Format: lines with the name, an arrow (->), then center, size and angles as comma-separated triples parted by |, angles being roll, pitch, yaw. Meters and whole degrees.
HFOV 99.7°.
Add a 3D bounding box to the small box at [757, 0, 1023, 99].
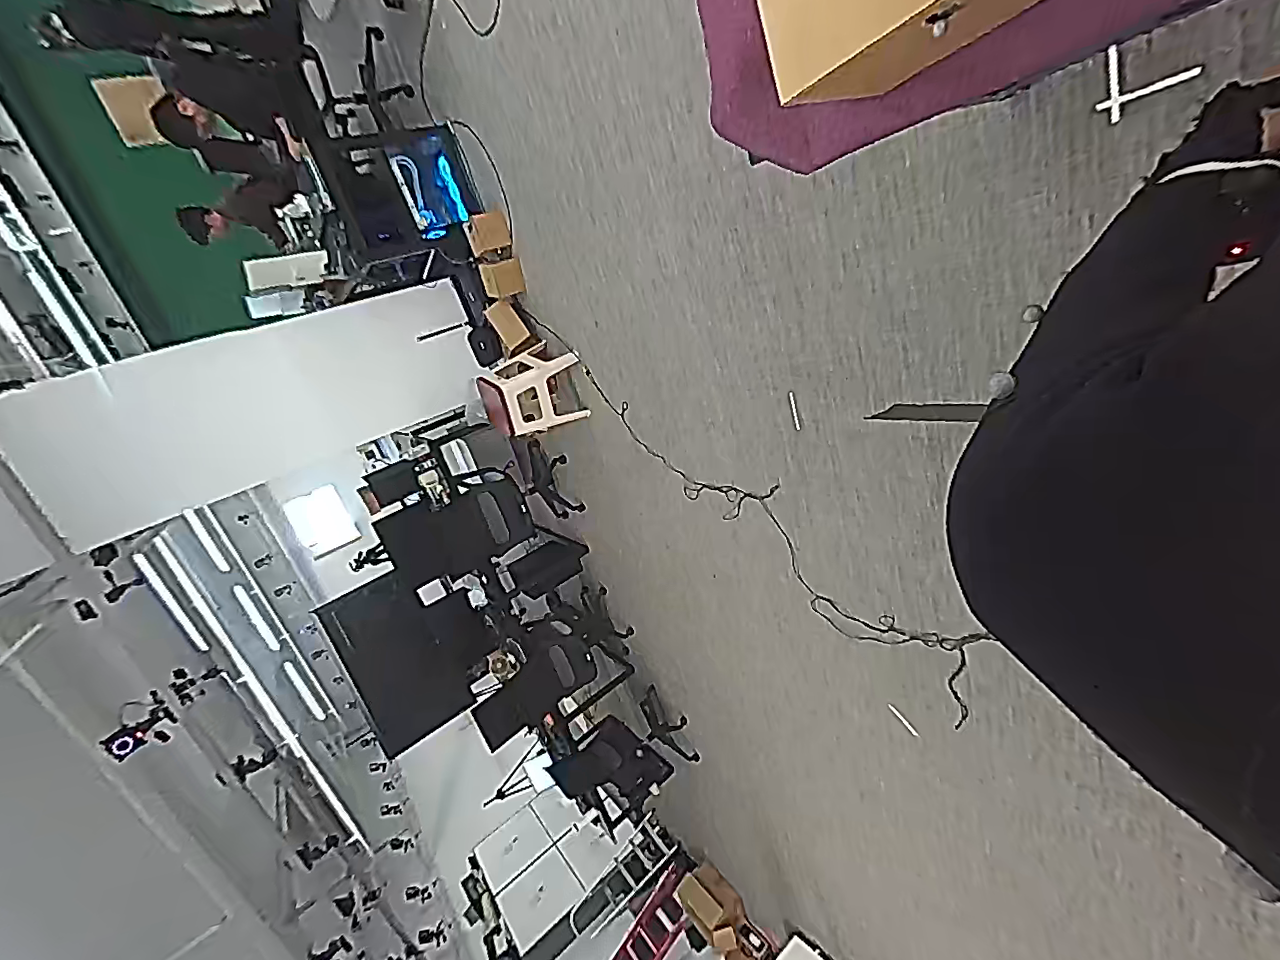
small box -> 0.218, -0.464, 0.464 | 0.179, 0.176, 0.168 | 4, 118, 57
